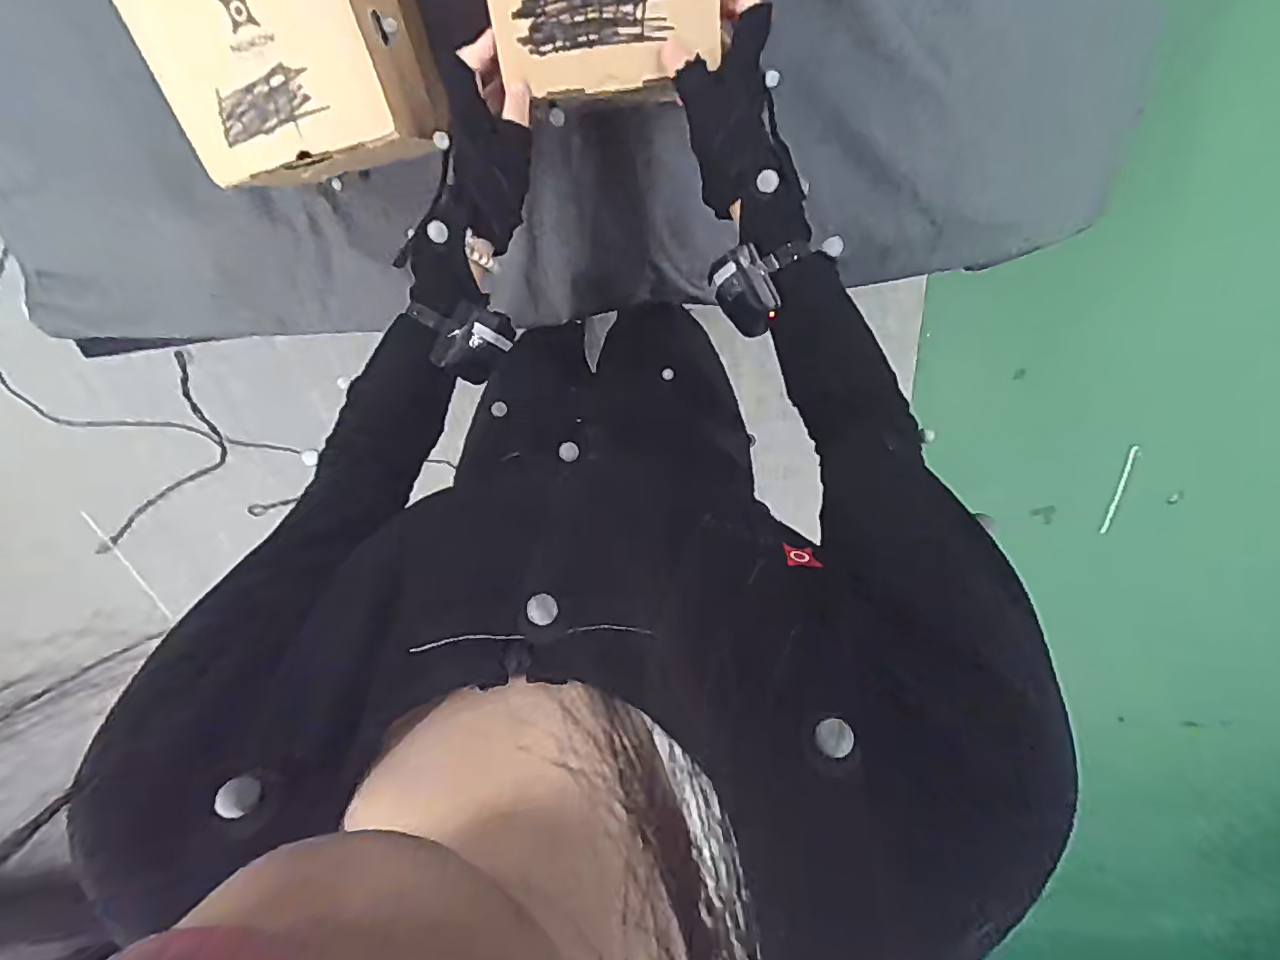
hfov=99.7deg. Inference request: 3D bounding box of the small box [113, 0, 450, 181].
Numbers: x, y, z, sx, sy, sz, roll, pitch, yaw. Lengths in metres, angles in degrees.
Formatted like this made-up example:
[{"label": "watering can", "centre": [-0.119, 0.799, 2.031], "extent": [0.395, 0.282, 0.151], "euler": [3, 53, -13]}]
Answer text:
[{"label": "small box", "centre": [-0.286, -0.371, 0.456], "extent": [0.168, 0.176, 0.179], "euler": [-11, 119, 6]}]
